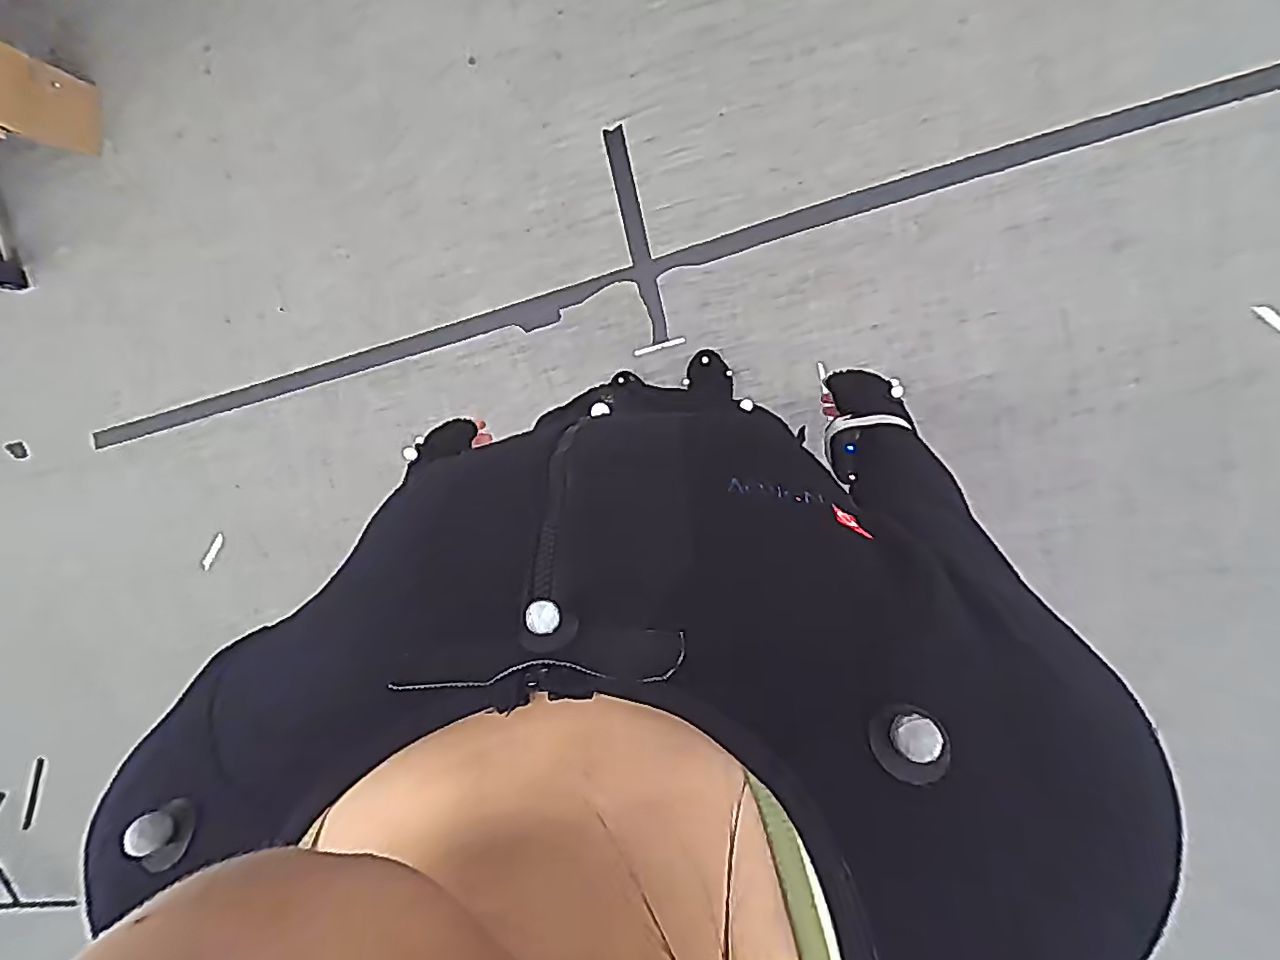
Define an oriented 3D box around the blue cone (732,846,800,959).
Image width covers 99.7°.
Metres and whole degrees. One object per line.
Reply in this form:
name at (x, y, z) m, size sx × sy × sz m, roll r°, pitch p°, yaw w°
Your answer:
blue cone at (0.373, 1.254, 1.515) m, size 0.193 × 0.380 × 0.192 m, roll -10°, pitch 101°, yaw 9°
